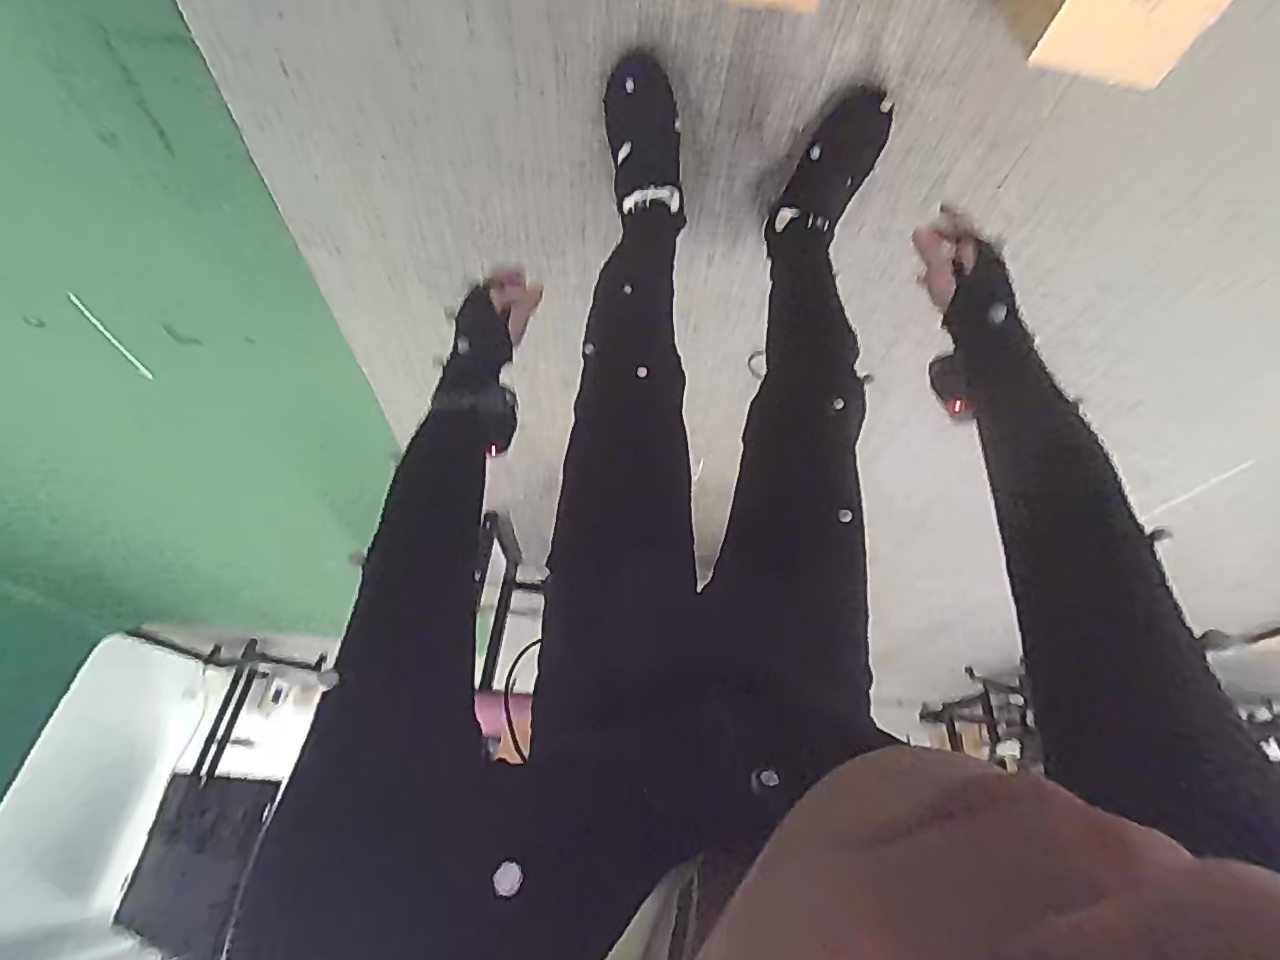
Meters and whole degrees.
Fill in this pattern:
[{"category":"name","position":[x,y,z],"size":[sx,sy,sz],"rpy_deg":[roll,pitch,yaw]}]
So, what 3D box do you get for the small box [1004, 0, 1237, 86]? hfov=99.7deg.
[{"category":"small box","position":[0.569,-0.600,0.624],"size":[0.179,0.176,0.168],"rpy_deg":[8,148,-4]}]
